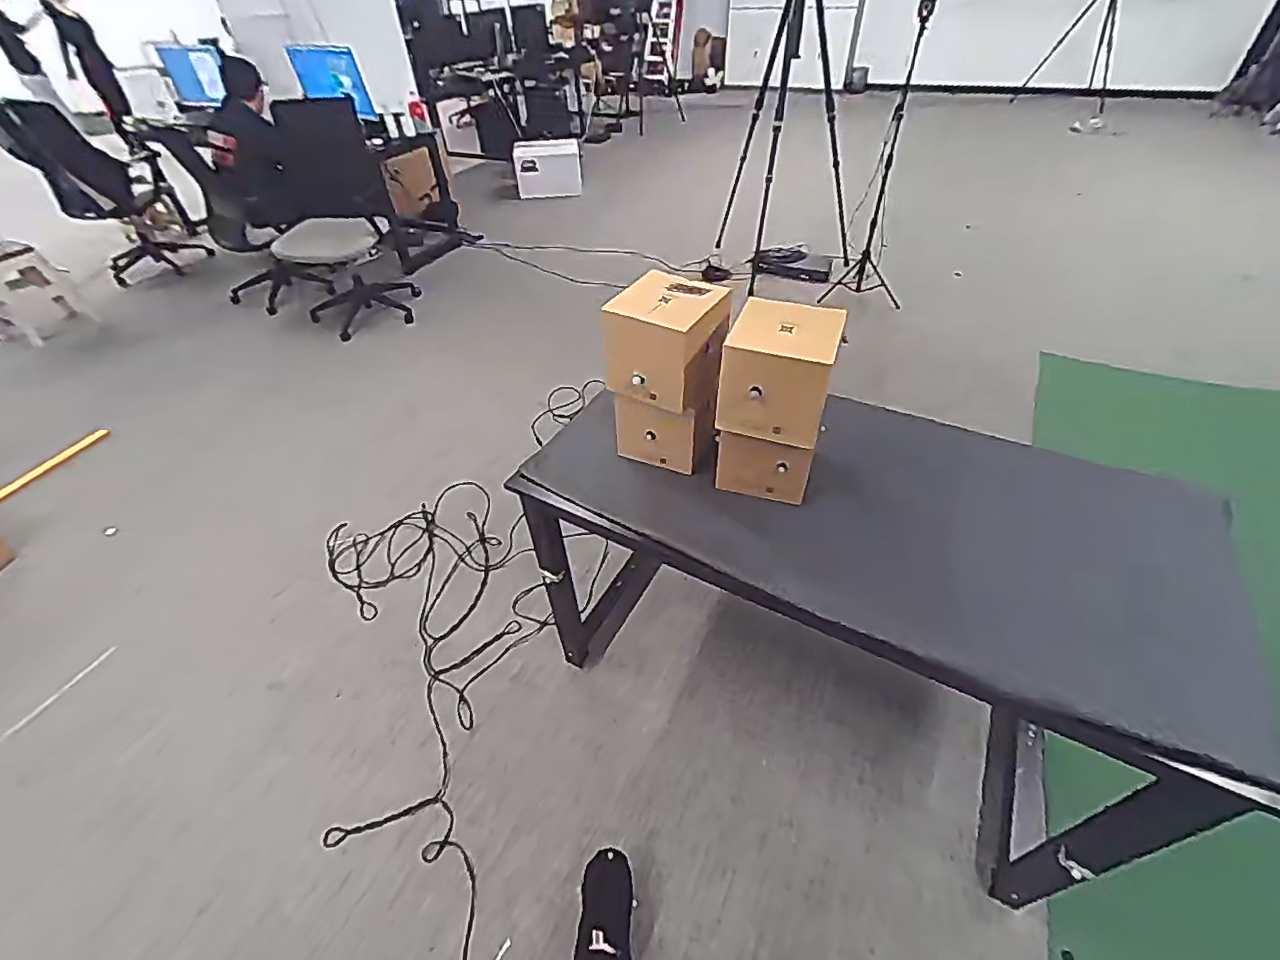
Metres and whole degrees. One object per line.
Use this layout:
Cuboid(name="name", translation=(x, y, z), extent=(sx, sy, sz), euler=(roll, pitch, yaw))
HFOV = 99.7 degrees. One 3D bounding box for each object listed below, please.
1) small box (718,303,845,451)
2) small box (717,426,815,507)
Cuboid(name="small box", translation=(0.233, -0.172, 0.909), extent=(0.168, 0.176, 0.179), euler=(15, 45, 16))
Cuboid(name="small box", translation=(0.248, -0.073, 1.039), extent=(0.168, 0.176, 0.179), euler=(13, 45, 14))
